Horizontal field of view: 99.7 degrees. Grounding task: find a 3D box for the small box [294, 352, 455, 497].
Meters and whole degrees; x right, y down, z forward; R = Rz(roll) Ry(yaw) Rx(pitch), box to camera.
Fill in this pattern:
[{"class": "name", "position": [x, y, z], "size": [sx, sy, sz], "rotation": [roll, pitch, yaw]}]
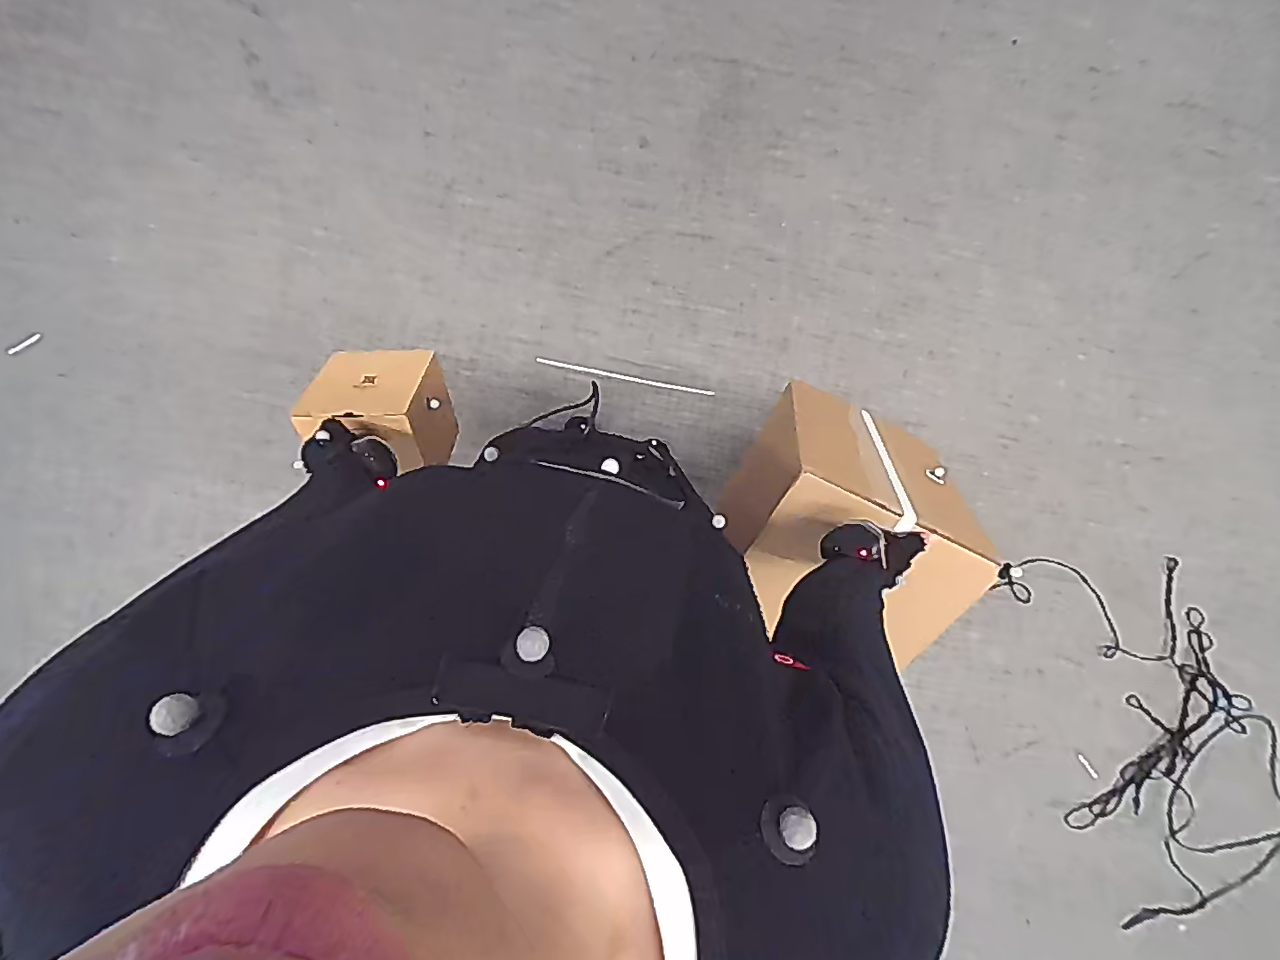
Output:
[{"class": "small box", "position": [-0.414, -0.092, 0.883], "size": [0.168, 0.179, 0.176], "rotation": [-2, 134, -1]}]
